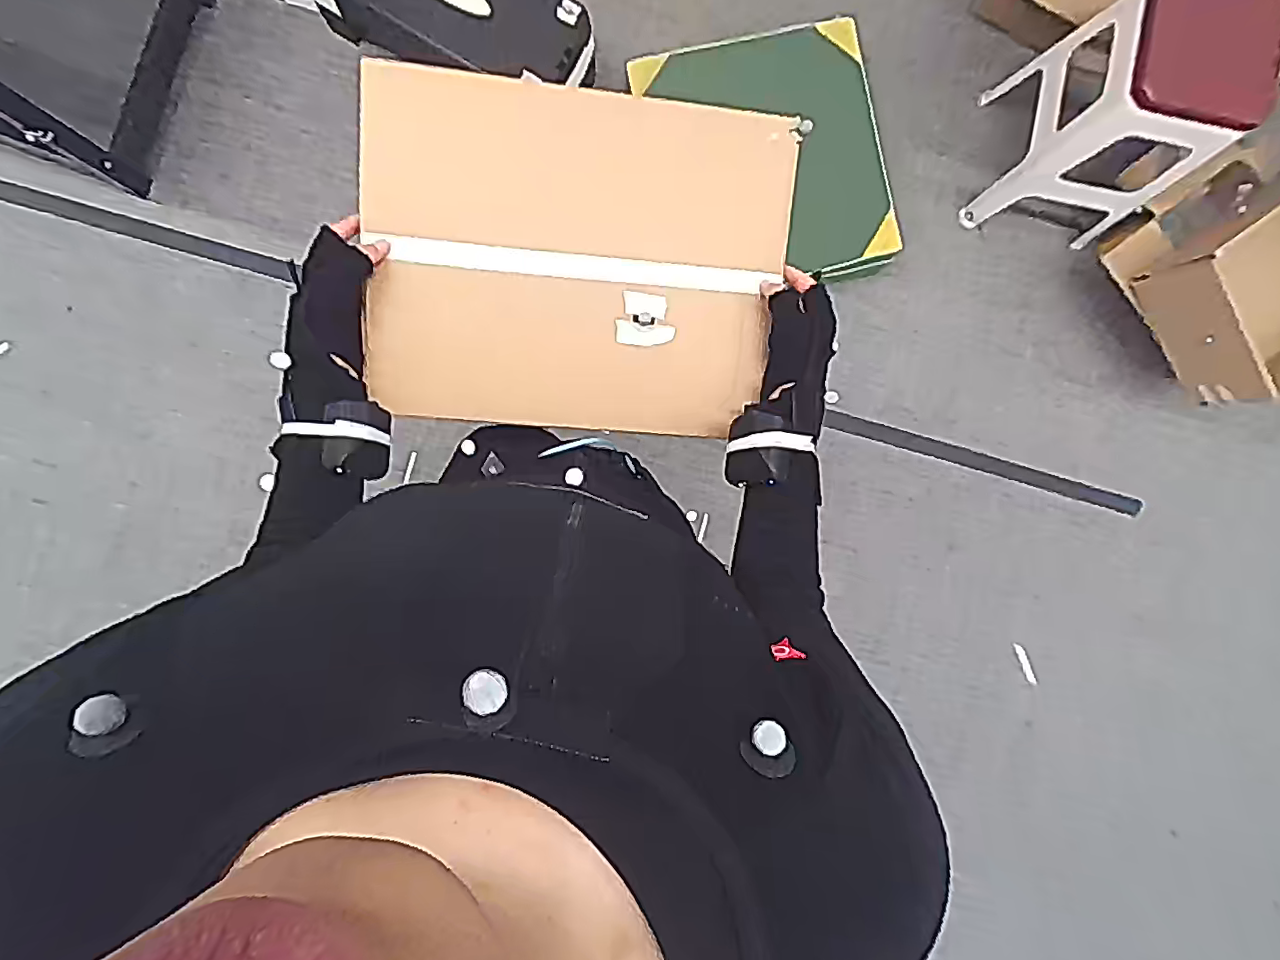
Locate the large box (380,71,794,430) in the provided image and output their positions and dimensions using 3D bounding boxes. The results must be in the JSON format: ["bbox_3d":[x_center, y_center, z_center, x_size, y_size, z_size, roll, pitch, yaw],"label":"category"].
[{"bbox_3d":[-0.070,-0.240,0.686,0.408,0.320,0.320,4,100,-7],"label":"large box"}]
